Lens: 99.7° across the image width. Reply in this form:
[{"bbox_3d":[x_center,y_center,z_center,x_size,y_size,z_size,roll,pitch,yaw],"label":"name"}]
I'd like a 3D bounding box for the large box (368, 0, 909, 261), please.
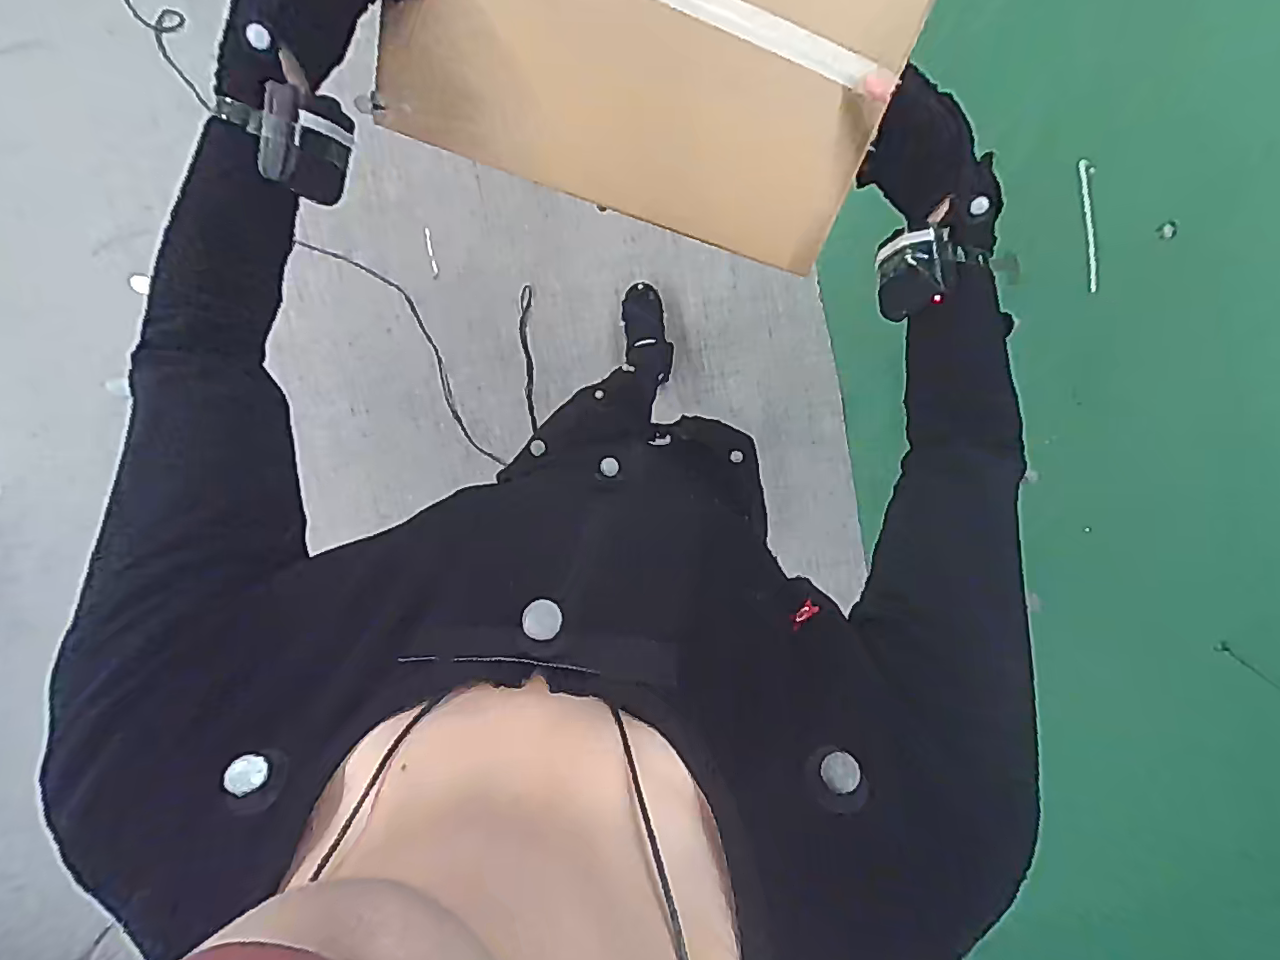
[{"bbox_3d":[0.001,-0.458,0.540,0.408,0.320,0.320,14,119,-13],"label":"large box"}]
